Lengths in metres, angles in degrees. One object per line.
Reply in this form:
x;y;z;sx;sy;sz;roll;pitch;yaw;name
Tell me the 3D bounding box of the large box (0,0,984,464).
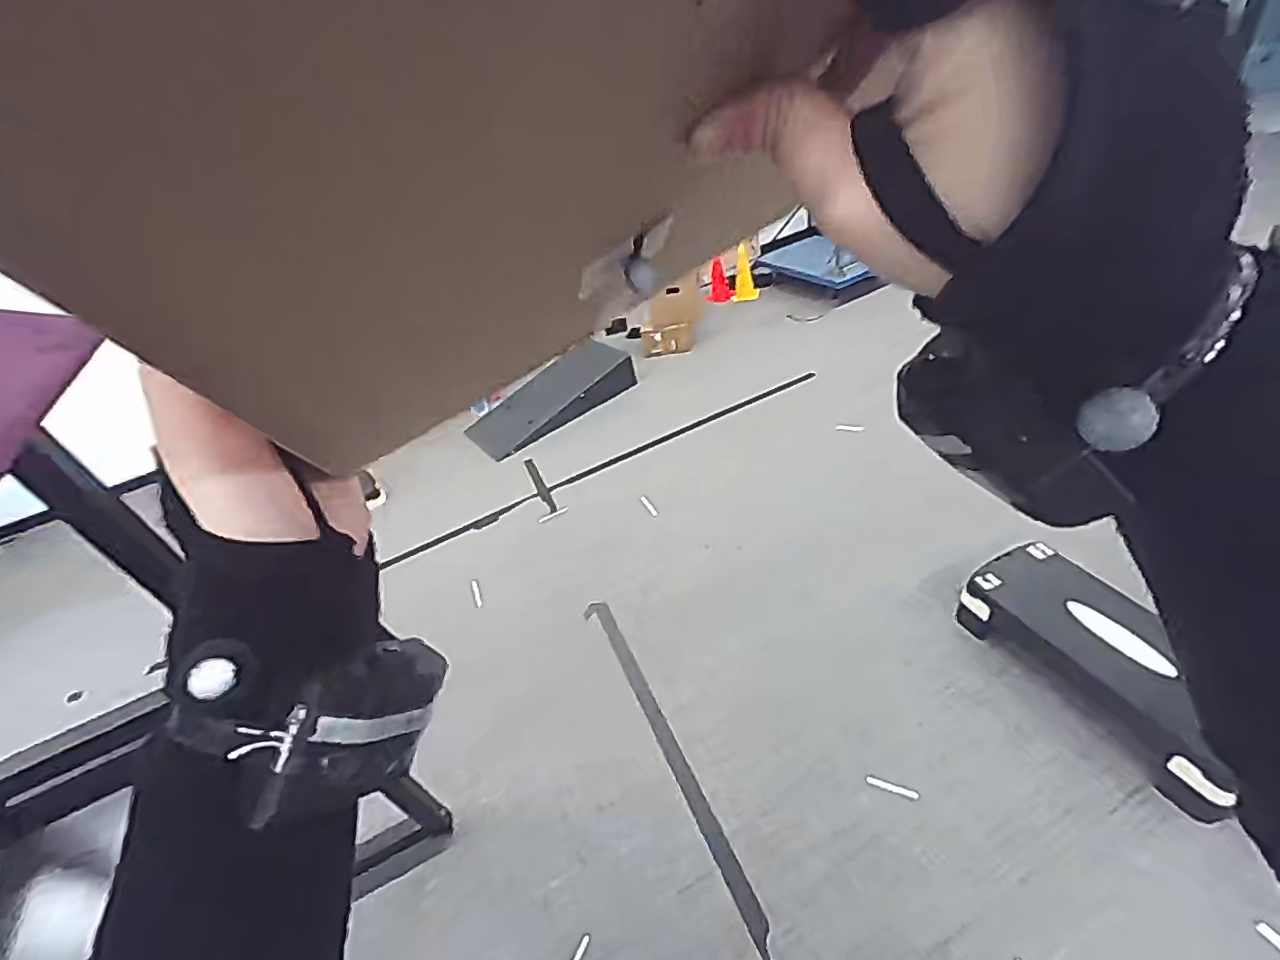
-0.085;-0.270;0.152;0.320;0.408;0.320;-36;1;-19;large box
